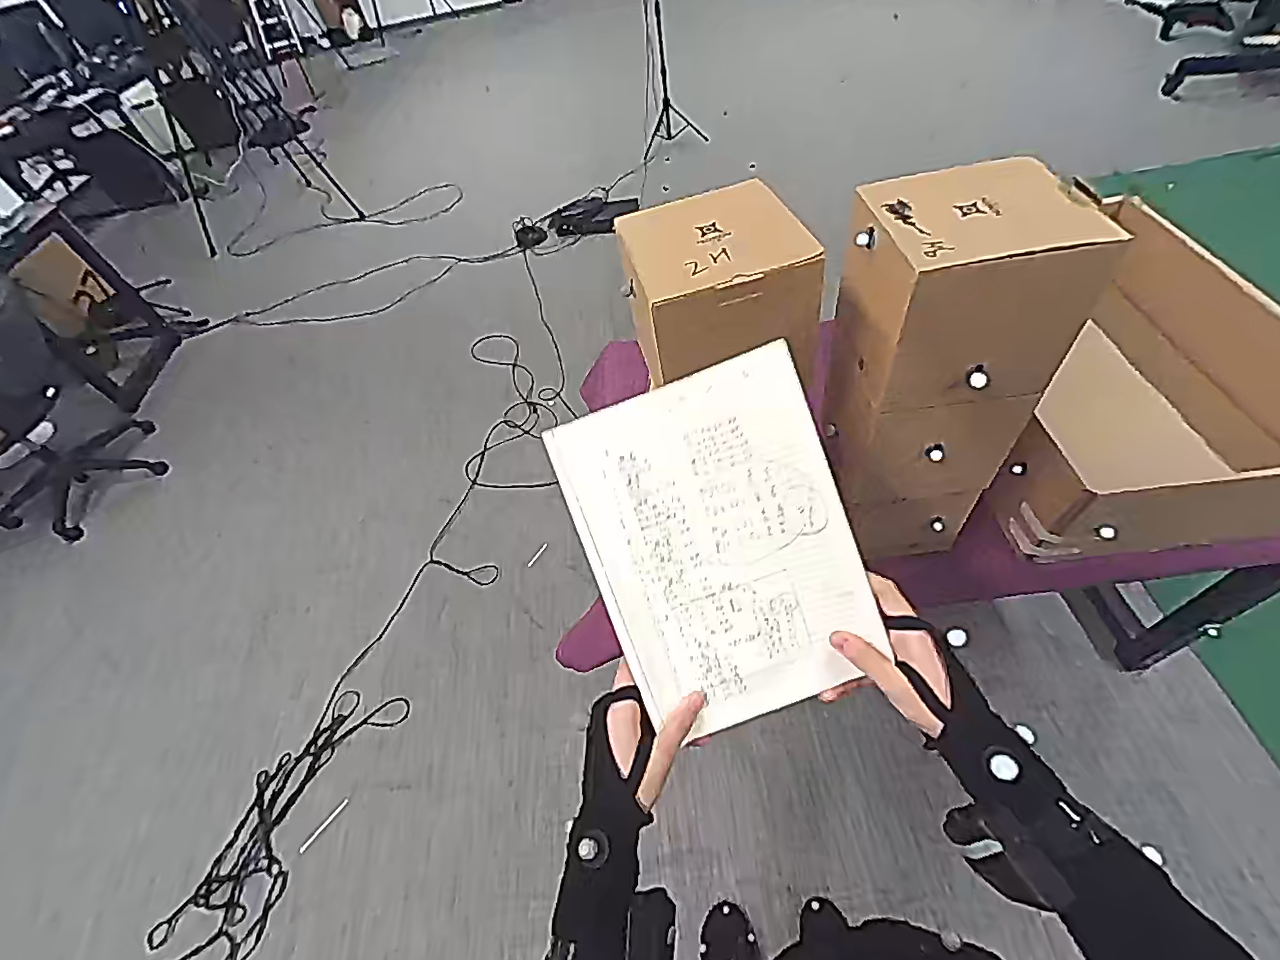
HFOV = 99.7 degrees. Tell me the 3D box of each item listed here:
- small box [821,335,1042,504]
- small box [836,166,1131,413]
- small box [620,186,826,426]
[{"bbox_3d":[0.343,-0.087,0.680,0.179,0.176,0.168,-7,50,5],"label":"small box"},{"bbox_3d":[0.320,-0.189,0.553,0.179,0.176,0.168,-7,49,4],"label":"small box"},{"bbox_3d":[0.084,-0.189,0.600,0.168,0.176,0.179,-16,51,0],"label":"small box"}]
